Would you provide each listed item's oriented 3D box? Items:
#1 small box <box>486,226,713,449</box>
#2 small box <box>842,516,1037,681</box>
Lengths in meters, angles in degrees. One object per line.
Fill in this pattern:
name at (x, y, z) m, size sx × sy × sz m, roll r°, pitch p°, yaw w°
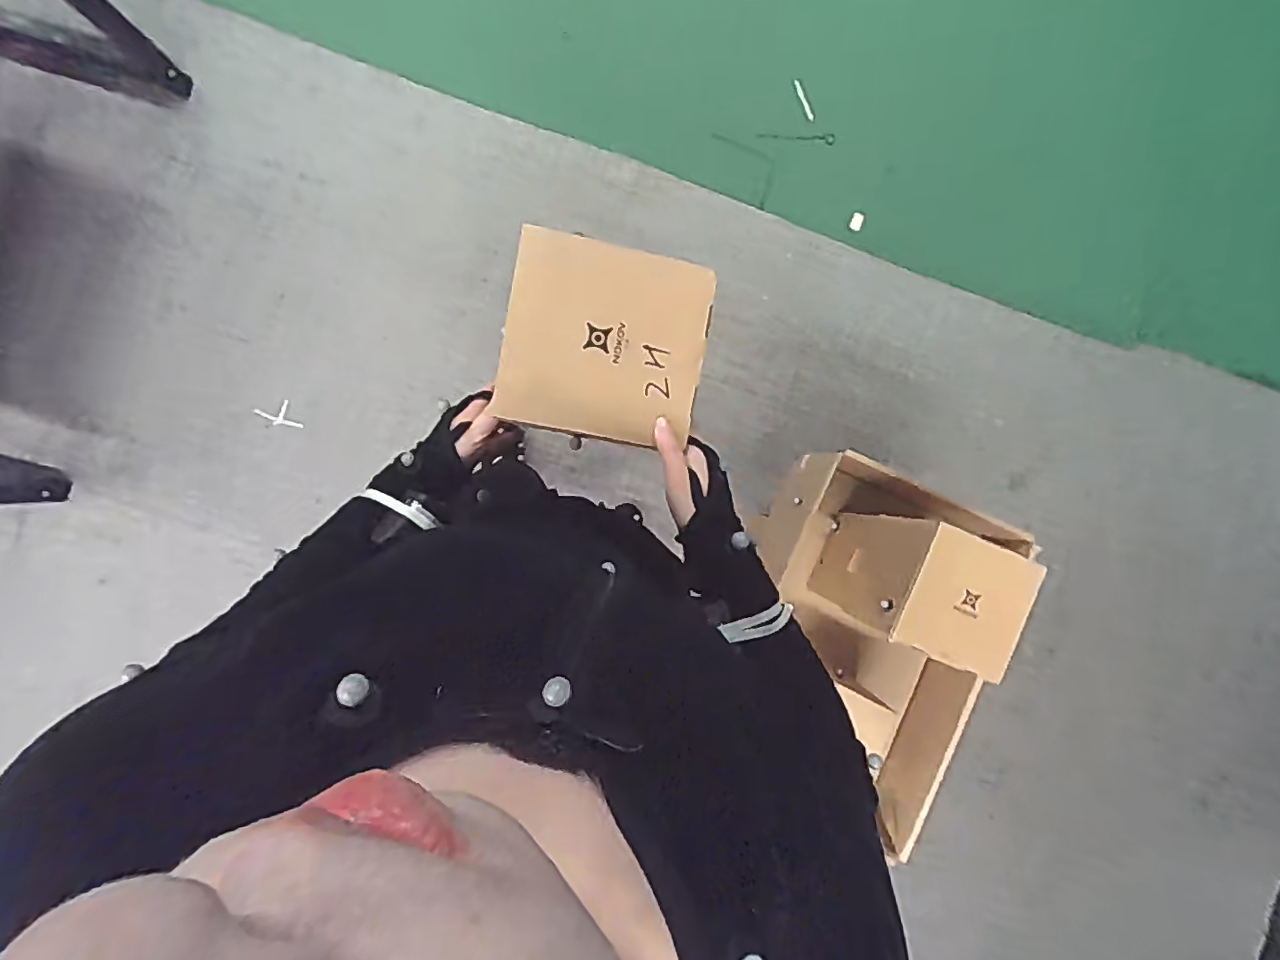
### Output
small box at (-0.045, -0.126, 0.550) m, size 0.179 × 0.176 × 0.168 m, roll 10°, pitch 93°, yaw -10°
small box at (0.436, 0.165, 0.818) m, size 0.168 × 0.176 × 0.179 m, roll 24°, pitch 90°, yaw -3°
